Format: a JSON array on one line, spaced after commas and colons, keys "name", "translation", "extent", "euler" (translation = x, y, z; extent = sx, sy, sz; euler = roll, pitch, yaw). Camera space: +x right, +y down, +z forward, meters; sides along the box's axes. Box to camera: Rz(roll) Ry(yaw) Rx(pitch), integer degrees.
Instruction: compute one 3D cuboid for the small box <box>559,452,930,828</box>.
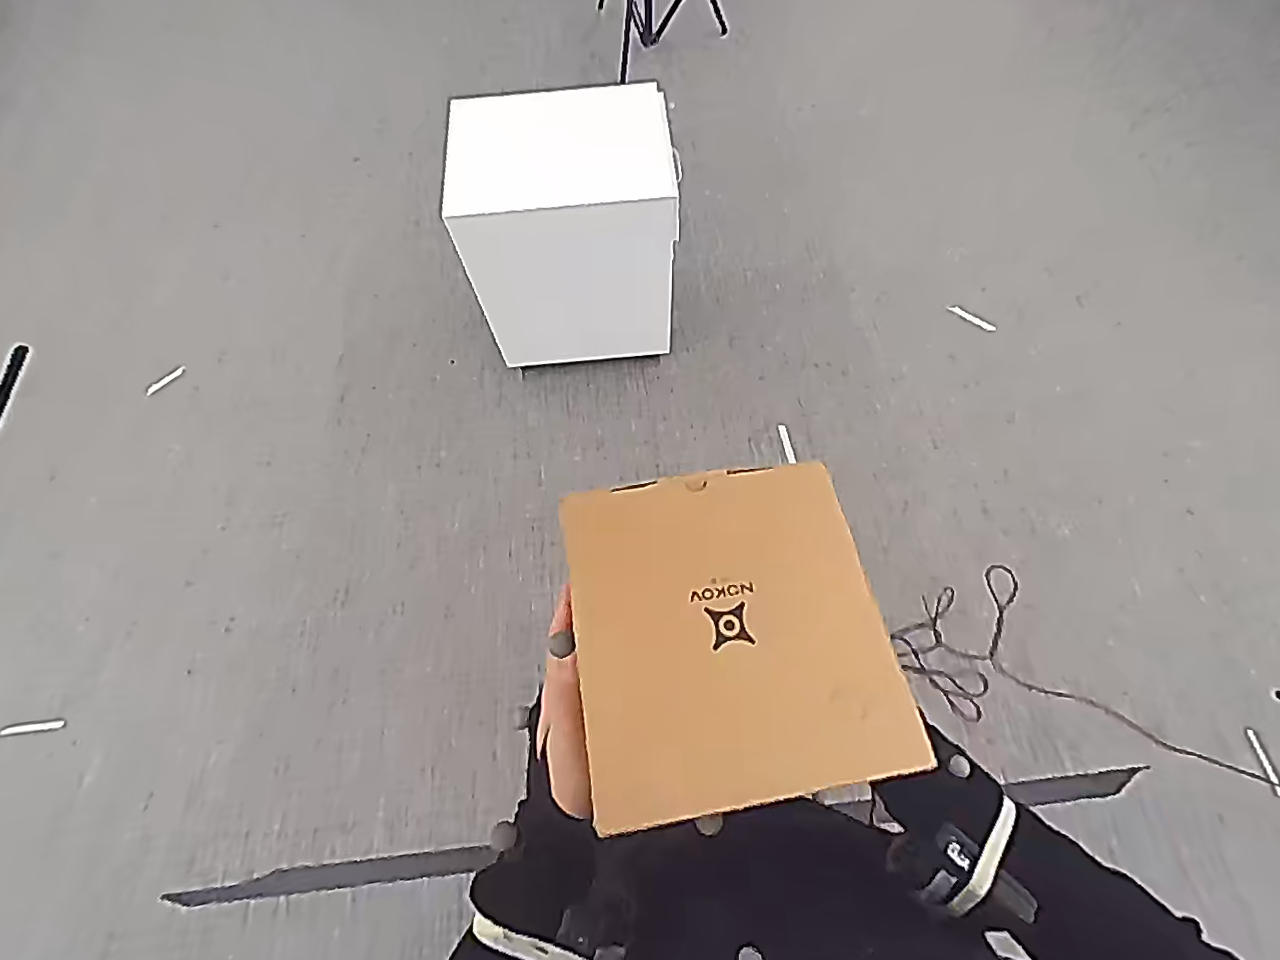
[{"name": "small box", "translation": [0.044, 0.107, 0.357], "extent": [0.168, 0.176, 0.179], "euler": [-8, 61, -6]}]
